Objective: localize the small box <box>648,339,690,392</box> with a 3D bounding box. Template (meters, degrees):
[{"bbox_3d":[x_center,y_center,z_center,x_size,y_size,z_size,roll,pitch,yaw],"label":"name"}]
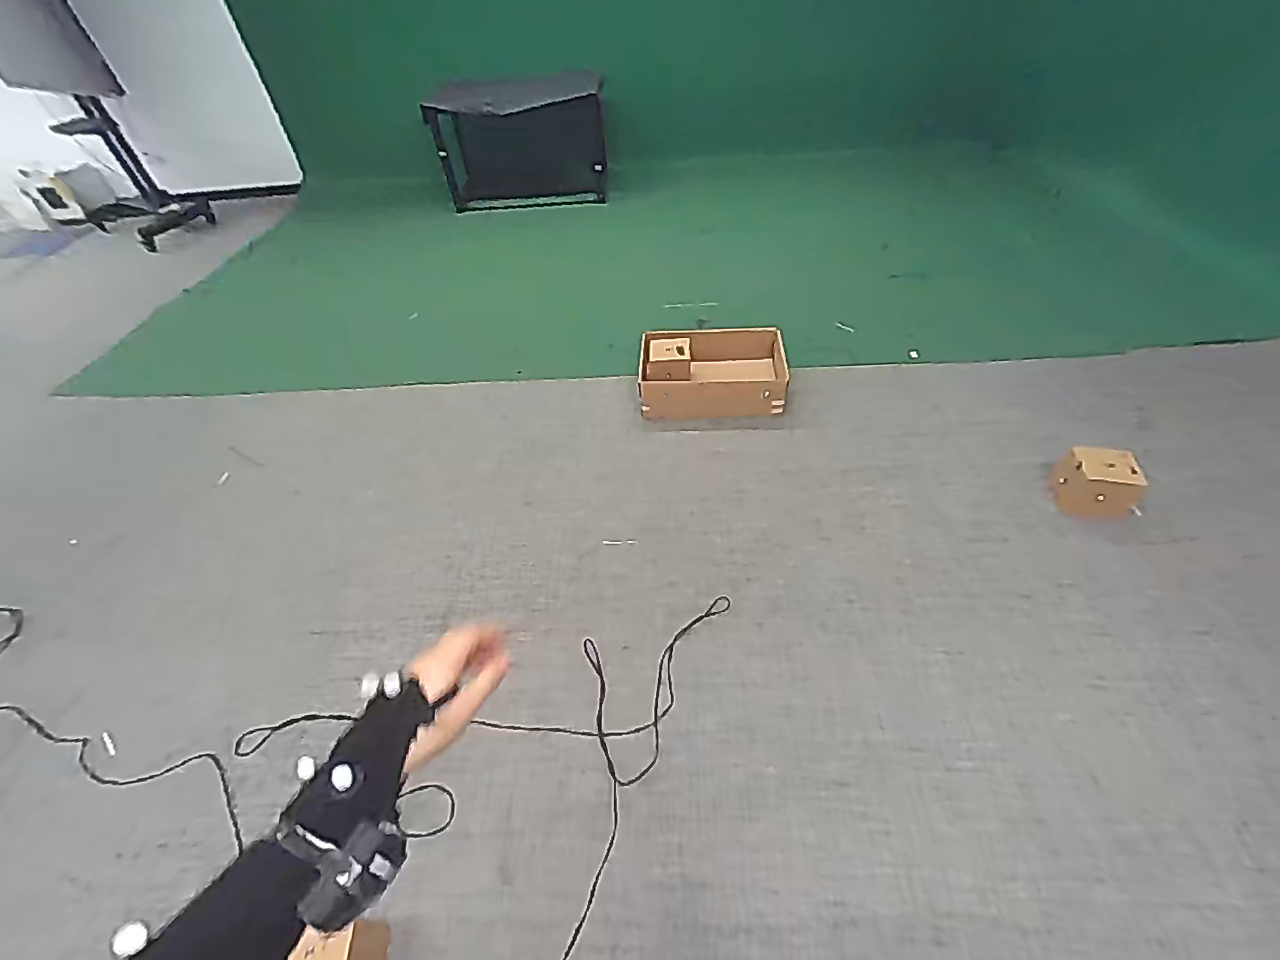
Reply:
[{"bbox_3d":[0.130,-0.500,2.365,0.179,0.176,0.168,-1,47,5],"label":"small box"}]

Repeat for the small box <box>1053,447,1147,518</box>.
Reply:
[{"bbox_3d":[1.524,0.011,1.810,0.179,0.176,0.168,7,47,13],"label":"small box"}]

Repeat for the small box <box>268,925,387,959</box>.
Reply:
[{"bbox_3d":[-0.620,1.001,1.058,0.168,0.176,0.179,-8,45,-2],"label":"small box"}]
